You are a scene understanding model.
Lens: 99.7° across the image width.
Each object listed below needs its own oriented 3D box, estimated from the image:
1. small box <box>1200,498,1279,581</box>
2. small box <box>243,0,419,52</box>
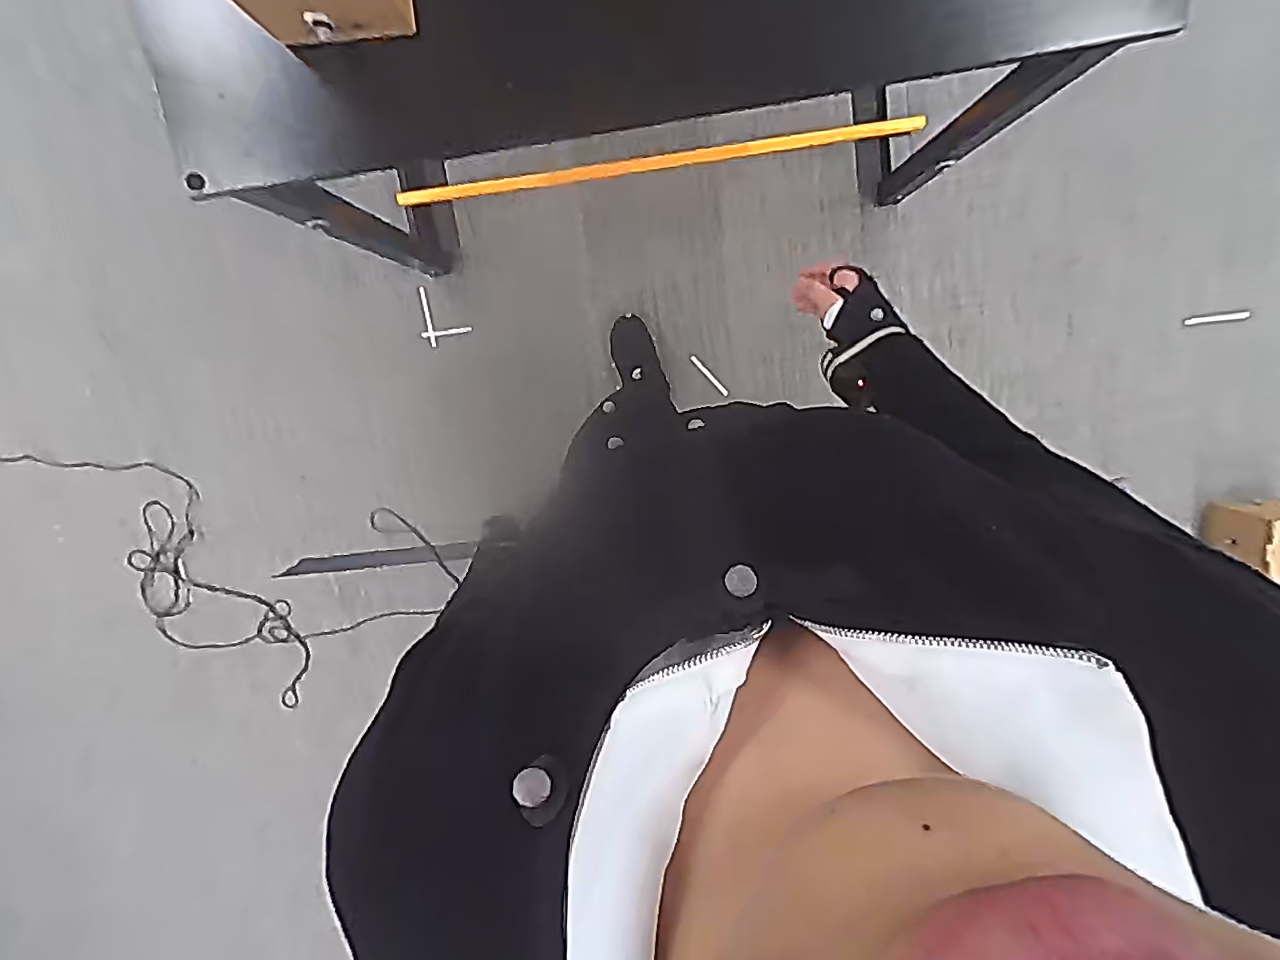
[{"bbox_3d":[1.606,0.147,1.385,0.179,0.176,0.168,-5,102,4],"label":"small box"},{"bbox_3d":[-0.350,-0.588,0.551,0.168,0.176,0.179,-4,102,4],"label":"small box"}]
